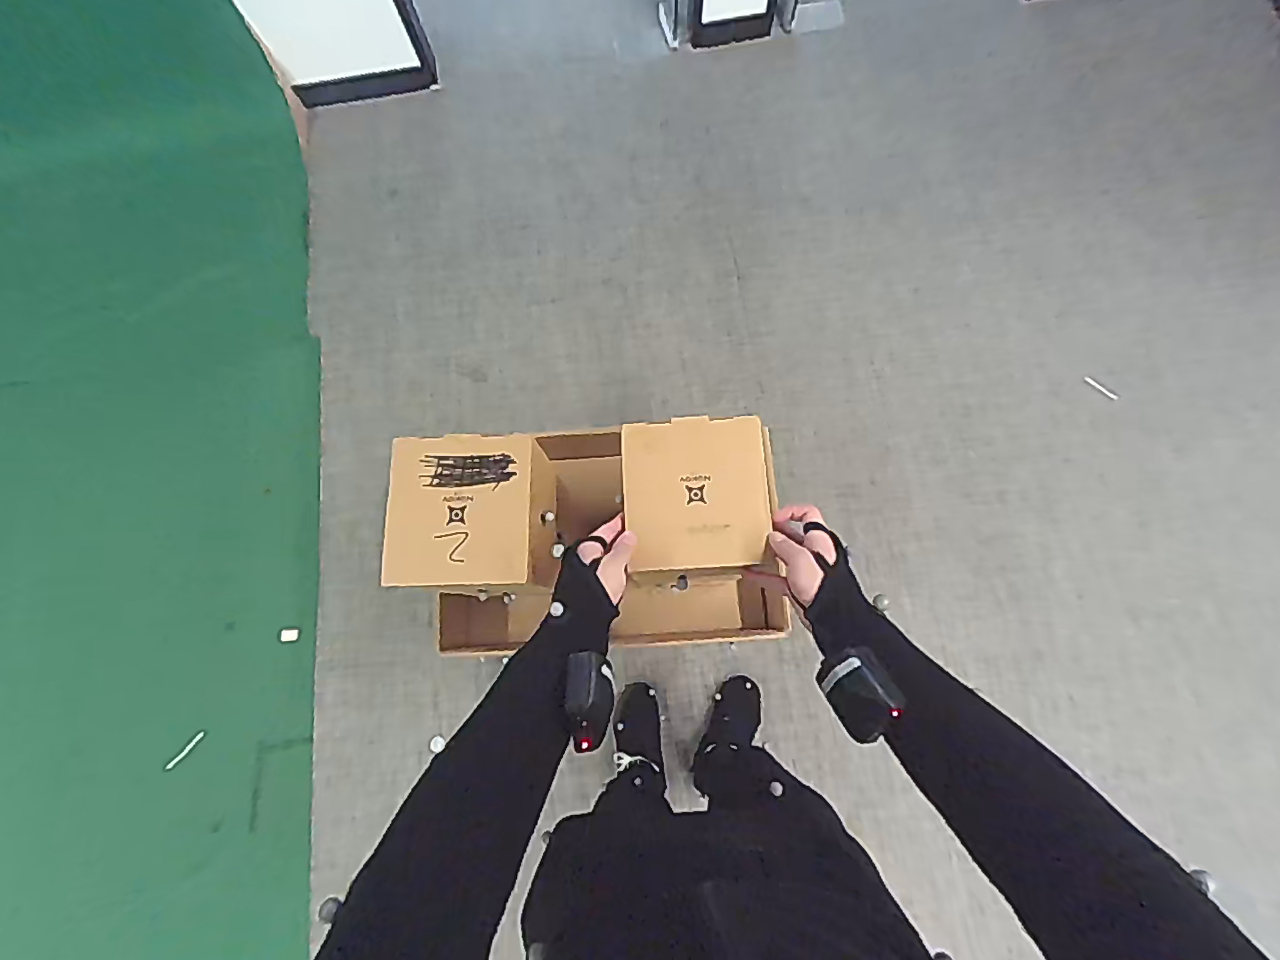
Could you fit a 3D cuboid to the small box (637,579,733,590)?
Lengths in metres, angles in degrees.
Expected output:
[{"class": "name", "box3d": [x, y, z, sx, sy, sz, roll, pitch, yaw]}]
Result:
[{"class": "small box", "box3d": [0.079, 0.113, 1.009, 0.168, 0.176, 0.179, -3, 75, 2]}]

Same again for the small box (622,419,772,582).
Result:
[{"class": "small box", "box3d": [0.064, 0.035, 0.691, 0.168, 0.176, 0.179, -3, 76, 3]}]

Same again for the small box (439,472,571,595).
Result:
[{"class": "small box", "box3d": [-0.202, 0.092, 0.856, 0.168, 0.176, 0.179, -2, 76, 1]}]
